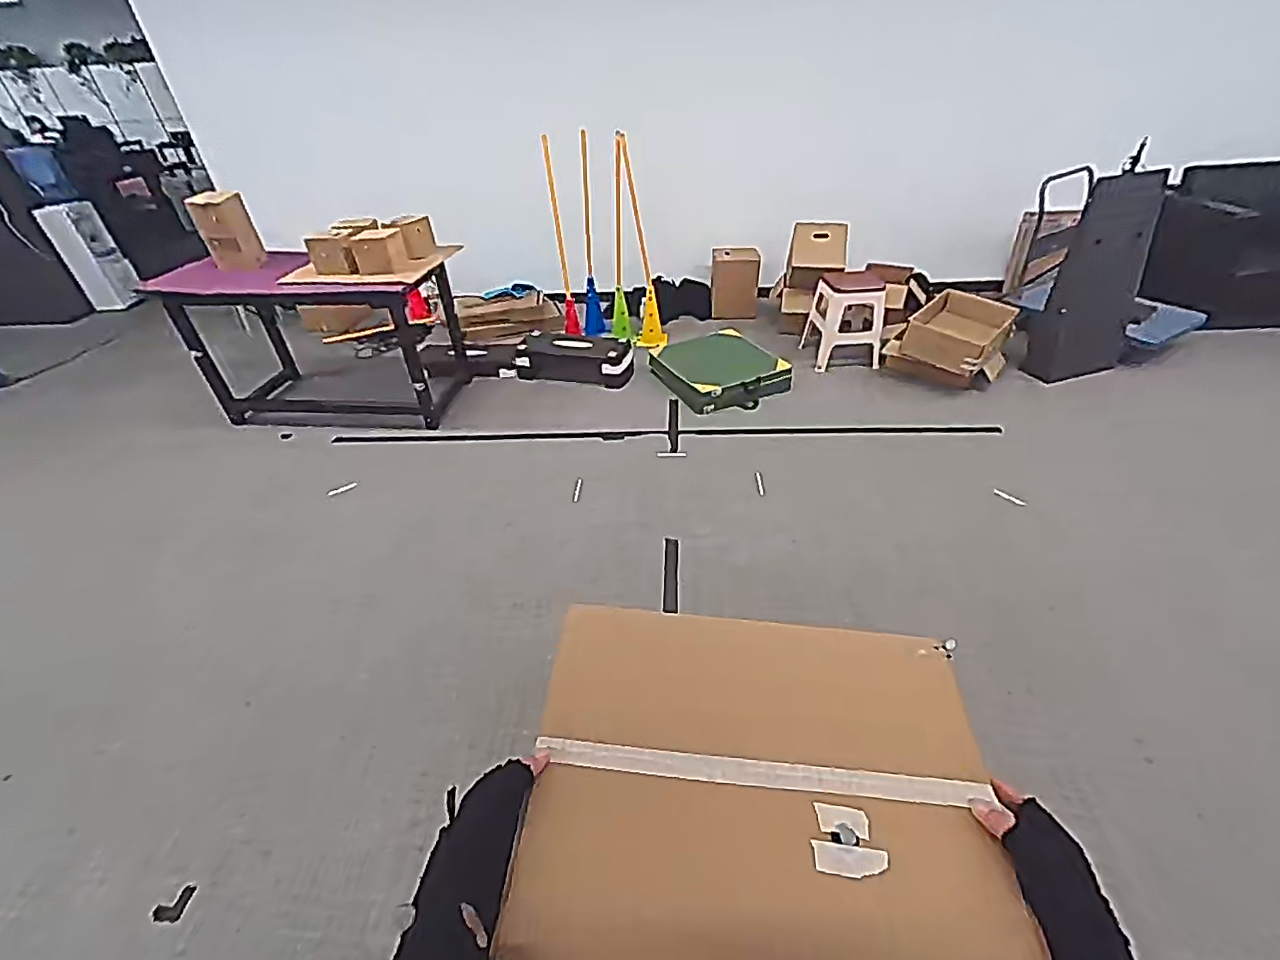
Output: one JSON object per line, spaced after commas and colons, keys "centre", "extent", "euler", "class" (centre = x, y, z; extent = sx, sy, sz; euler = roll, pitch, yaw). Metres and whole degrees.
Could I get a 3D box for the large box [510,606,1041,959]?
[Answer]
{"centre": [0.108, 0.369, 0.599], "extent": [0.408, 0.320, 0.320], "euler": [5, 45, 4], "class": "large box"}
